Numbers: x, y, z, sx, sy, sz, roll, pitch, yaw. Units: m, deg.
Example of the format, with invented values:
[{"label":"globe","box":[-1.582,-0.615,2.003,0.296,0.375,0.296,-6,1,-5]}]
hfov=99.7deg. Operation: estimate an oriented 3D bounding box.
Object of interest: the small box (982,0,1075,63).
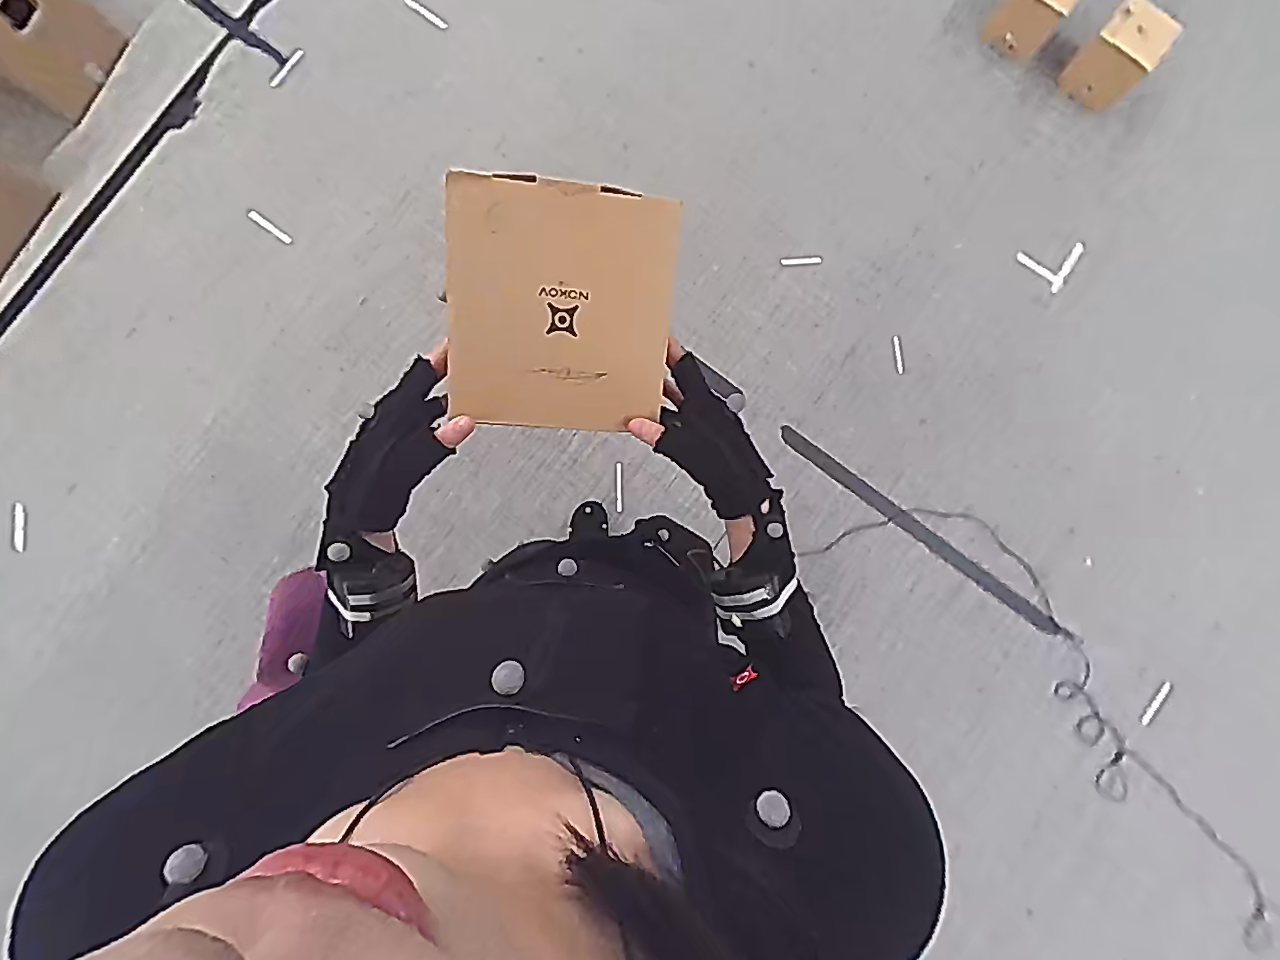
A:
[{"label":"small box","box":[1.153,-1.393,1.583,0.168,0.176,0.179,35,87,2]}]

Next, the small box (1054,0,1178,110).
[{"label":"small box","box":[1.378,-1.232,1.577,0.179,0.176,0.168,38,86,1]}]

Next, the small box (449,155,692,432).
[{"label":"small box","box":[-0.064,-0.152,0.469,0.168,0.176,0.179,4,109,-10]}]
